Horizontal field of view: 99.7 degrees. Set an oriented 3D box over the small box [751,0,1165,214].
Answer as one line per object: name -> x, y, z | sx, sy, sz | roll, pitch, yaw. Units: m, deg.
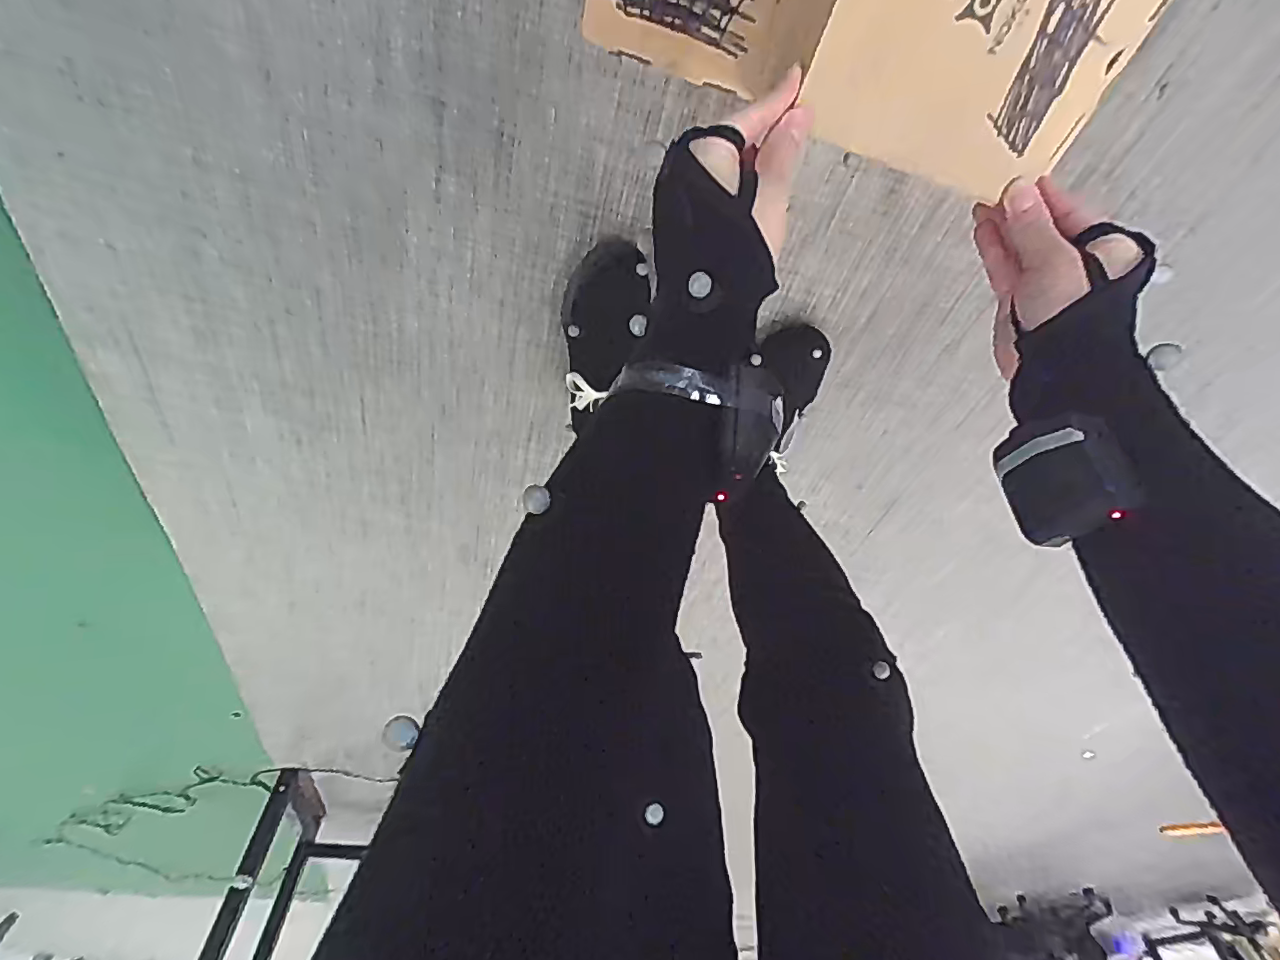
small box -> 0.194, -0.309, 0.359 | 0.179, 0.176, 0.168 | 12, 130, -11
